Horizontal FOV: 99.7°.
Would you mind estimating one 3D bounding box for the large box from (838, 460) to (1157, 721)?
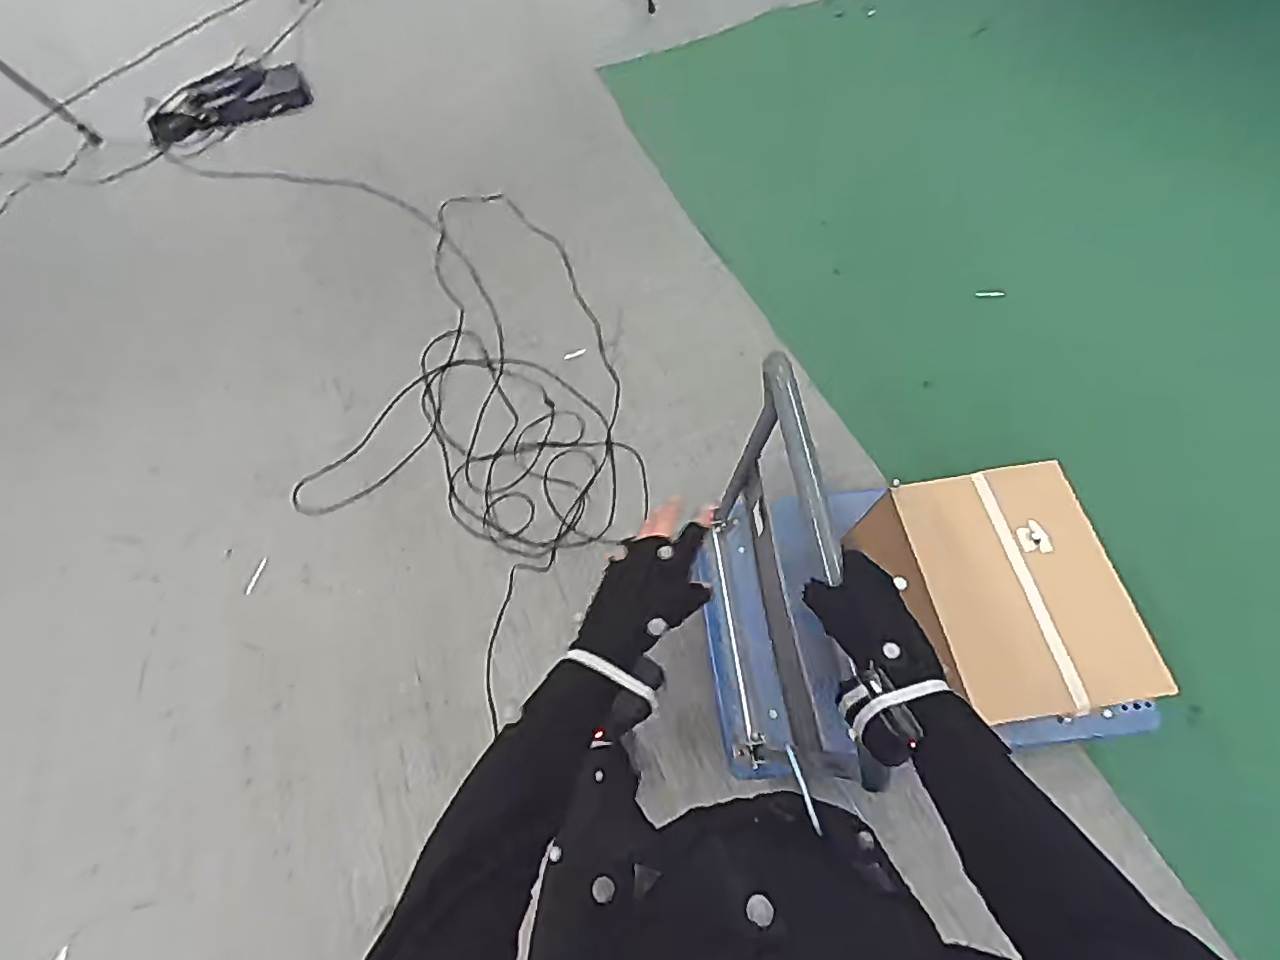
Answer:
[{"bbox_3d":[0.630,0.226,1.050,0.320,0.320,0.408,-9,65,-2],"label":"large box"}]
